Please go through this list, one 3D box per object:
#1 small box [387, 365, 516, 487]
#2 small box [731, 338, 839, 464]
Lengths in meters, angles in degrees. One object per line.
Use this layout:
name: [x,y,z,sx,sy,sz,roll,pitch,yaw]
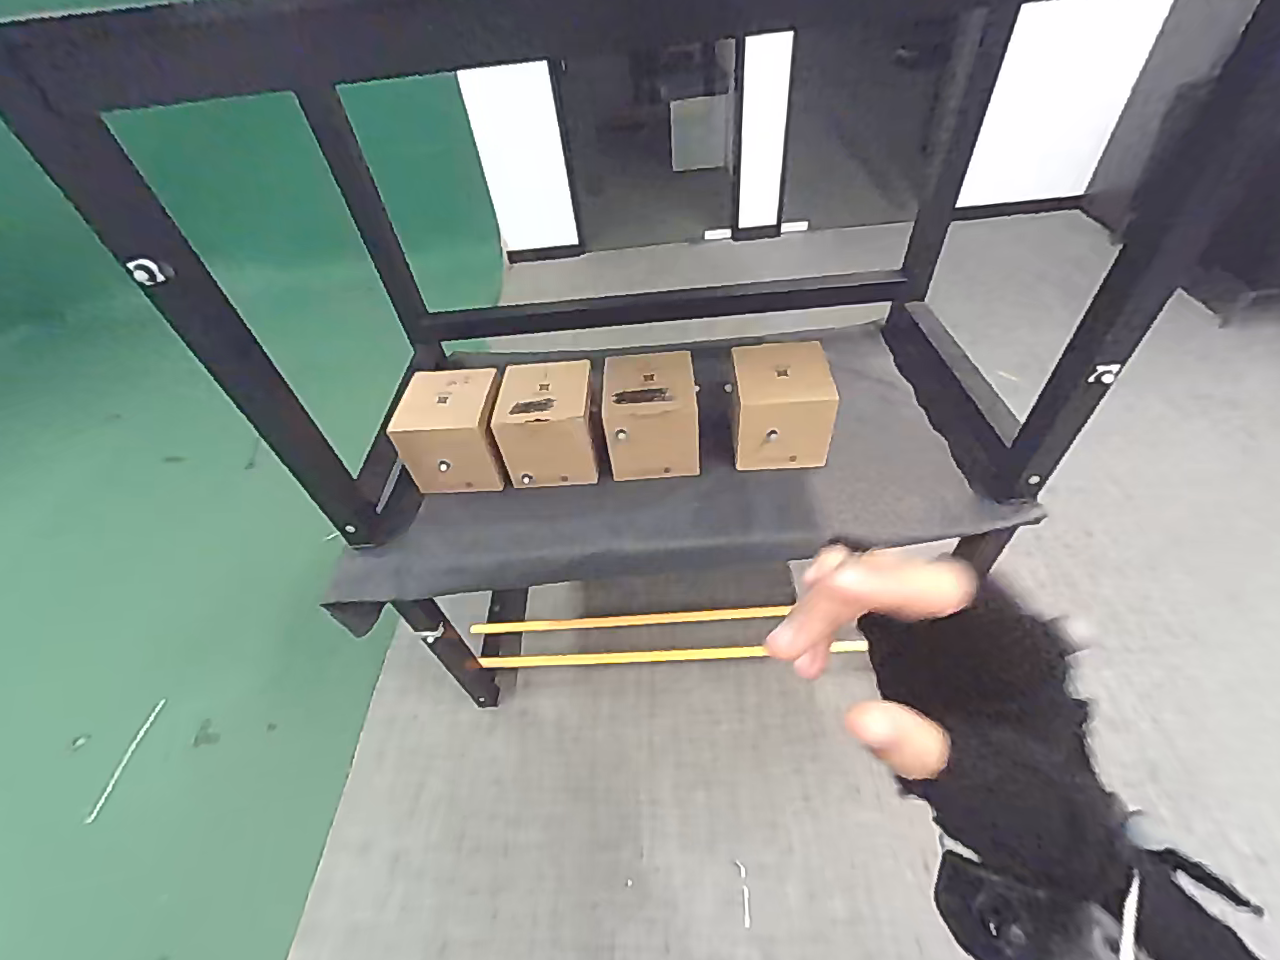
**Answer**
small box: [-0.349,-0.099,1.044,0.168,0.176,0.179,-1,47,4]
small box: [0.260,-0.142,1.010,0.168,0.176,0.179,-2,47,5]
